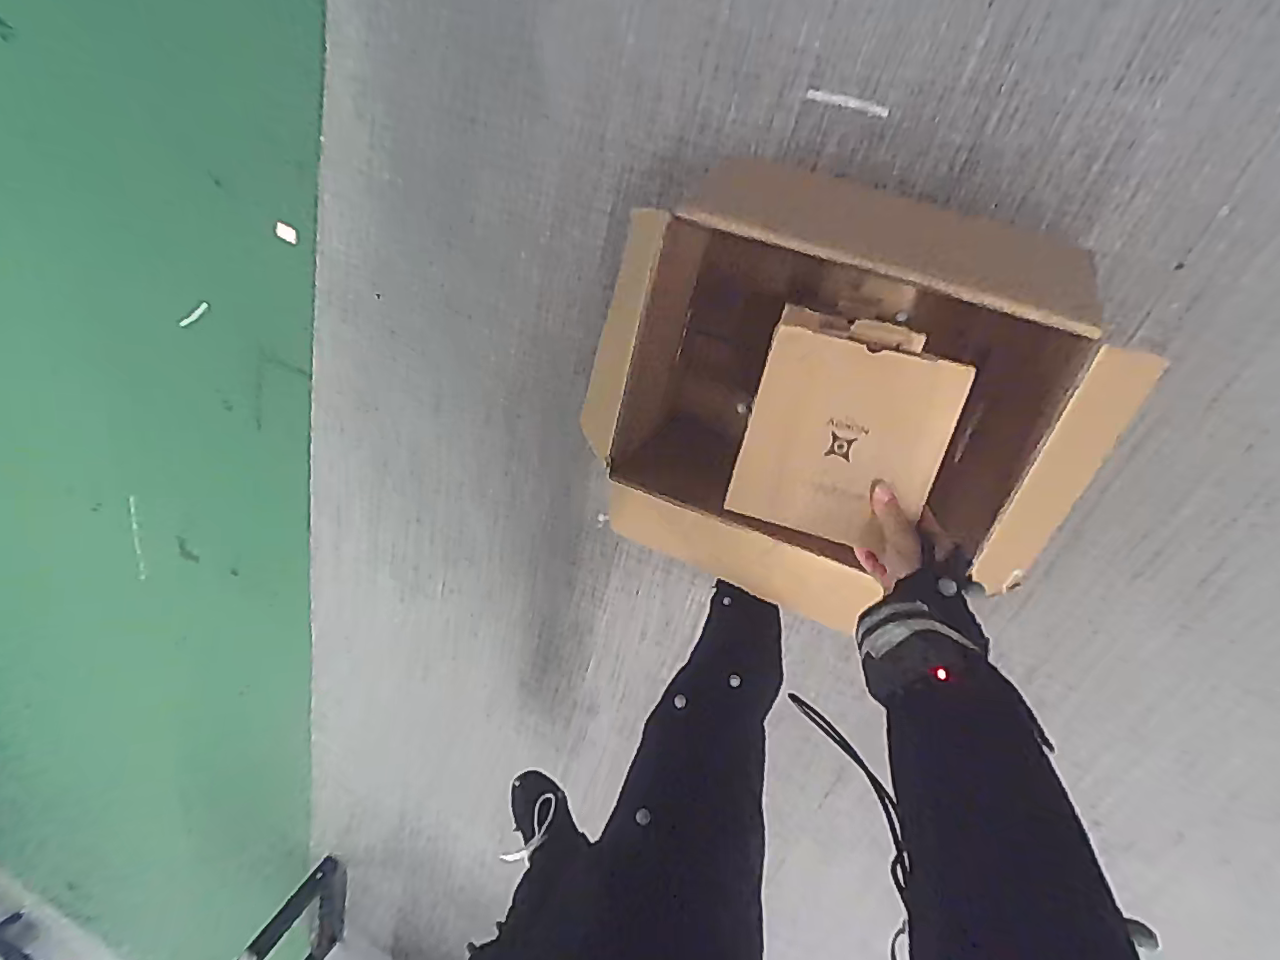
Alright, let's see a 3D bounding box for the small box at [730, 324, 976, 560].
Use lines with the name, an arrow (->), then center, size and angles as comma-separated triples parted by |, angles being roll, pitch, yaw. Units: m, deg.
small box -> 0.196, -0.046, 0.551 | 0.168, 0.176, 0.179 | 17, 104, 9
